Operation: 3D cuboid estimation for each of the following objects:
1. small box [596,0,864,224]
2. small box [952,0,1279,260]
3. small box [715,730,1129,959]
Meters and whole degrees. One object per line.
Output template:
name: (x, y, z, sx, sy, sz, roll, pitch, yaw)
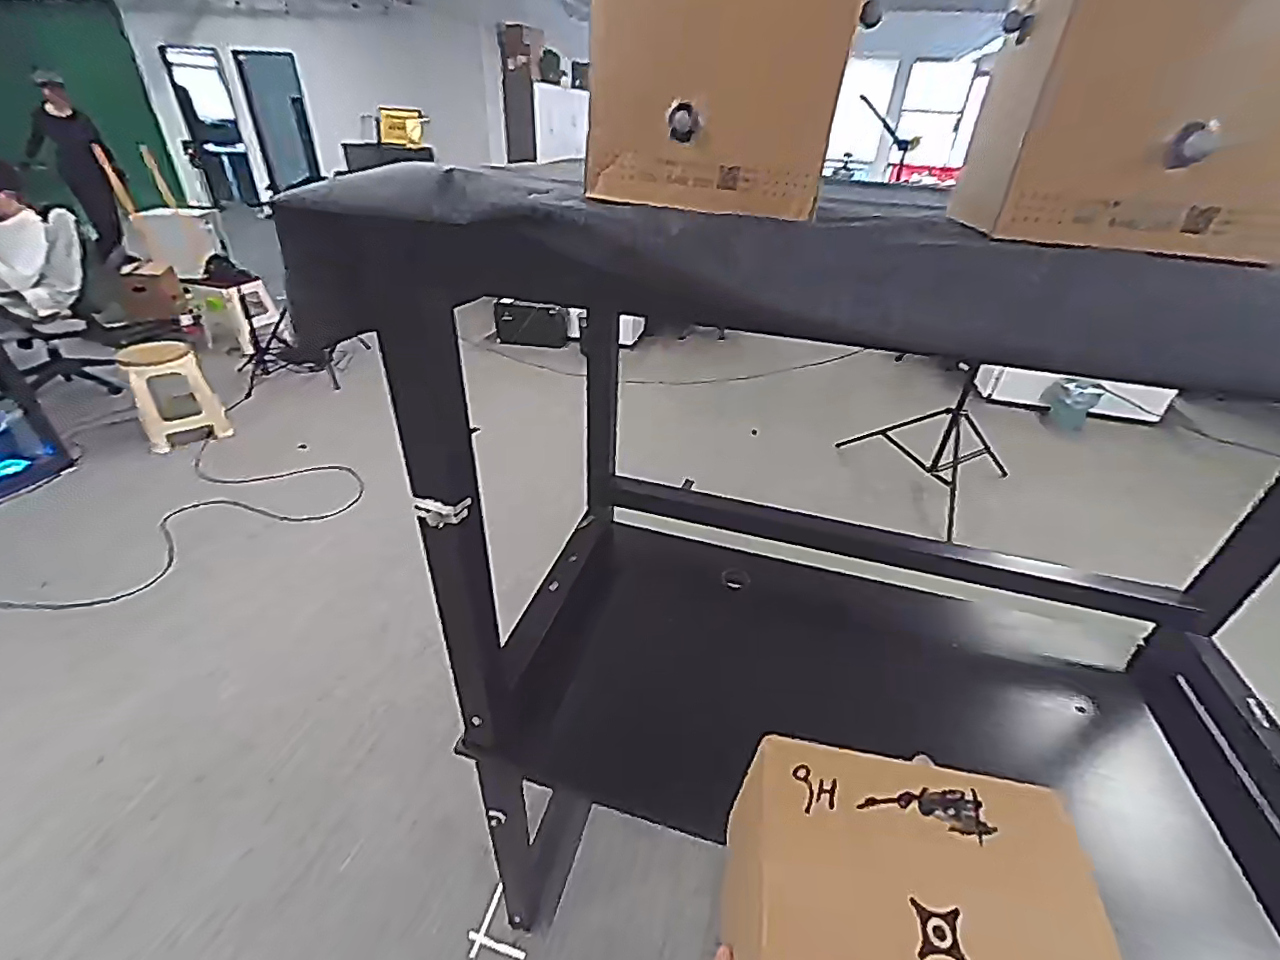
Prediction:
small box: (0.068, -0.303, 0.410, 0.168, 0.176, 0.179, 12, 33, 10)
small box: (0.331, -0.252, 0.353, 0.168, 0.176, 0.179, 11, 32, 12)
small box: (0.134, 0.272, 0.298, 0.168, 0.176, 0.179, 9, 44, 6)
